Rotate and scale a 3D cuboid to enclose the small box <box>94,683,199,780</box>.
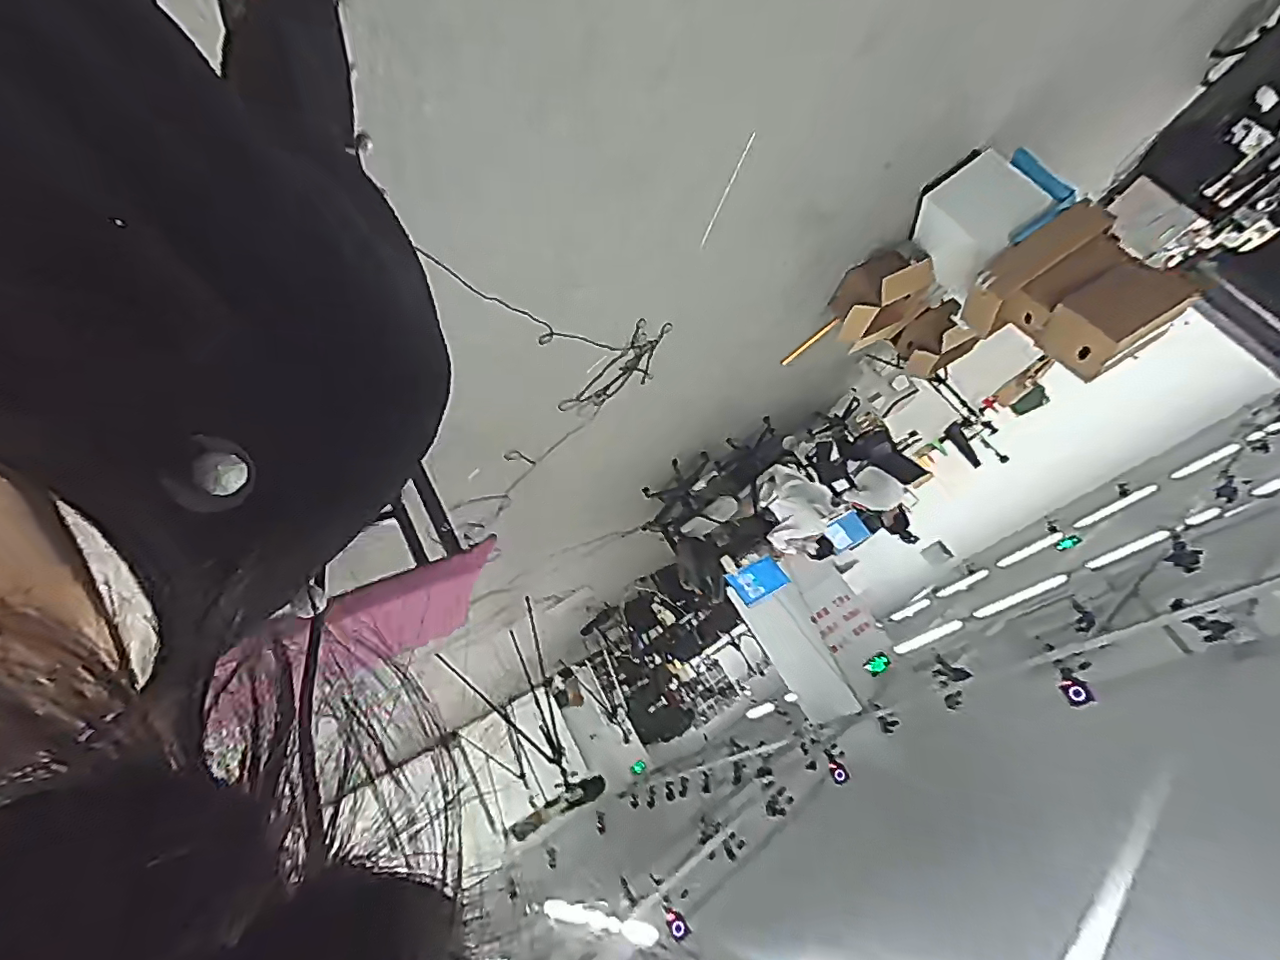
[{"bbox_3d":[-1.340,0.679,1.472,0.168,0.176,0.179,-18,157,-37],"label":"small box"}]
